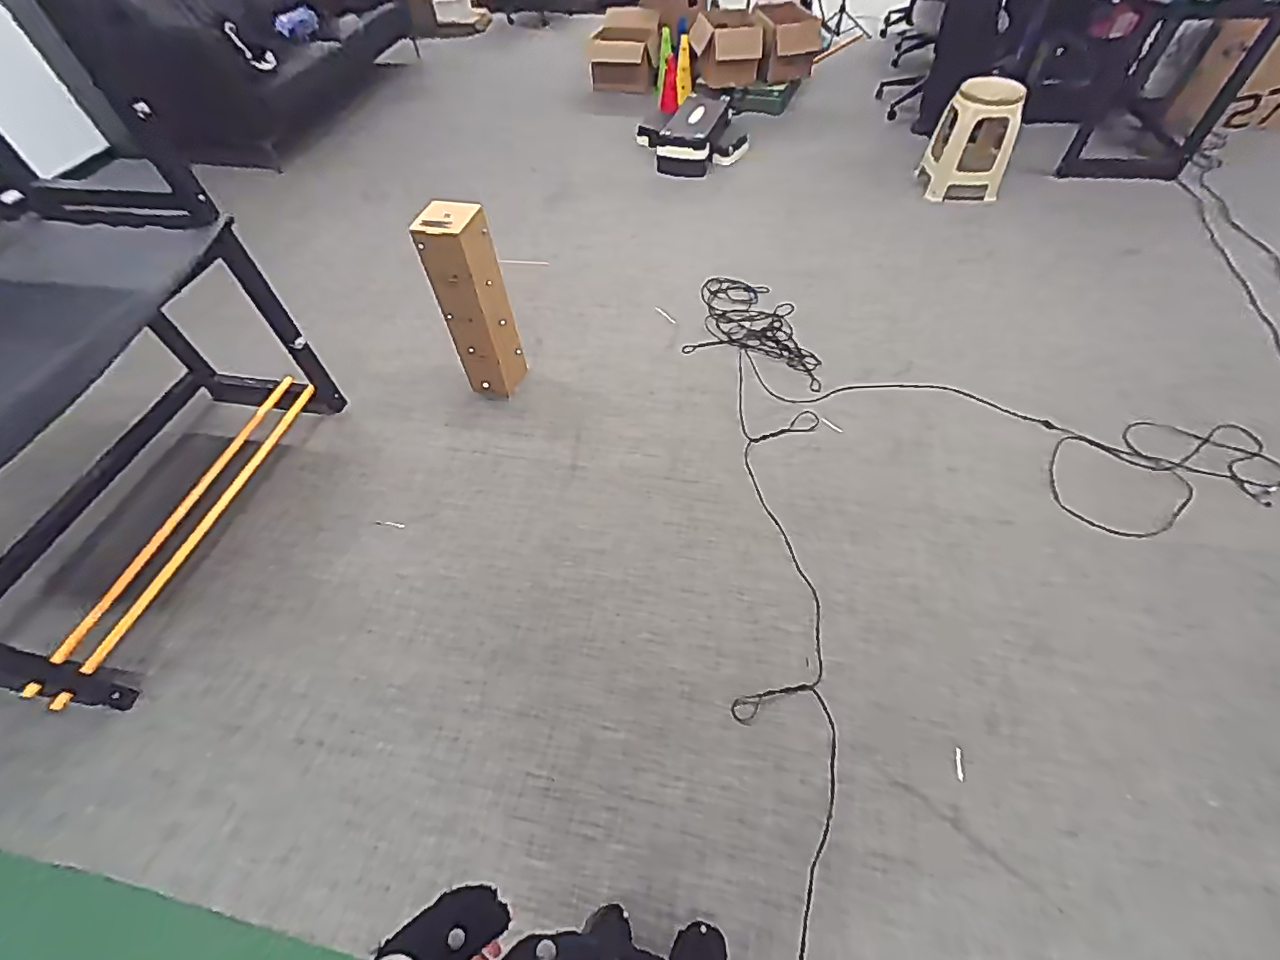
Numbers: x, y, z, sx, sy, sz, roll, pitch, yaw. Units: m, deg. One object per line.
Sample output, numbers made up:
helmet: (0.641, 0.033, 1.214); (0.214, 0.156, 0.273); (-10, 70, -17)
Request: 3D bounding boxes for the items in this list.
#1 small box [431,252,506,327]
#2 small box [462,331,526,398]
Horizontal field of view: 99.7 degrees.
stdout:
small box: (-0.575, -0.645, 1.840); (0.168, 0.176, 0.179); (11, 54, 10)
small box: (-0.558, -0.449, 2.101); (0.168, 0.176, 0.179); (12, 55, 12)
